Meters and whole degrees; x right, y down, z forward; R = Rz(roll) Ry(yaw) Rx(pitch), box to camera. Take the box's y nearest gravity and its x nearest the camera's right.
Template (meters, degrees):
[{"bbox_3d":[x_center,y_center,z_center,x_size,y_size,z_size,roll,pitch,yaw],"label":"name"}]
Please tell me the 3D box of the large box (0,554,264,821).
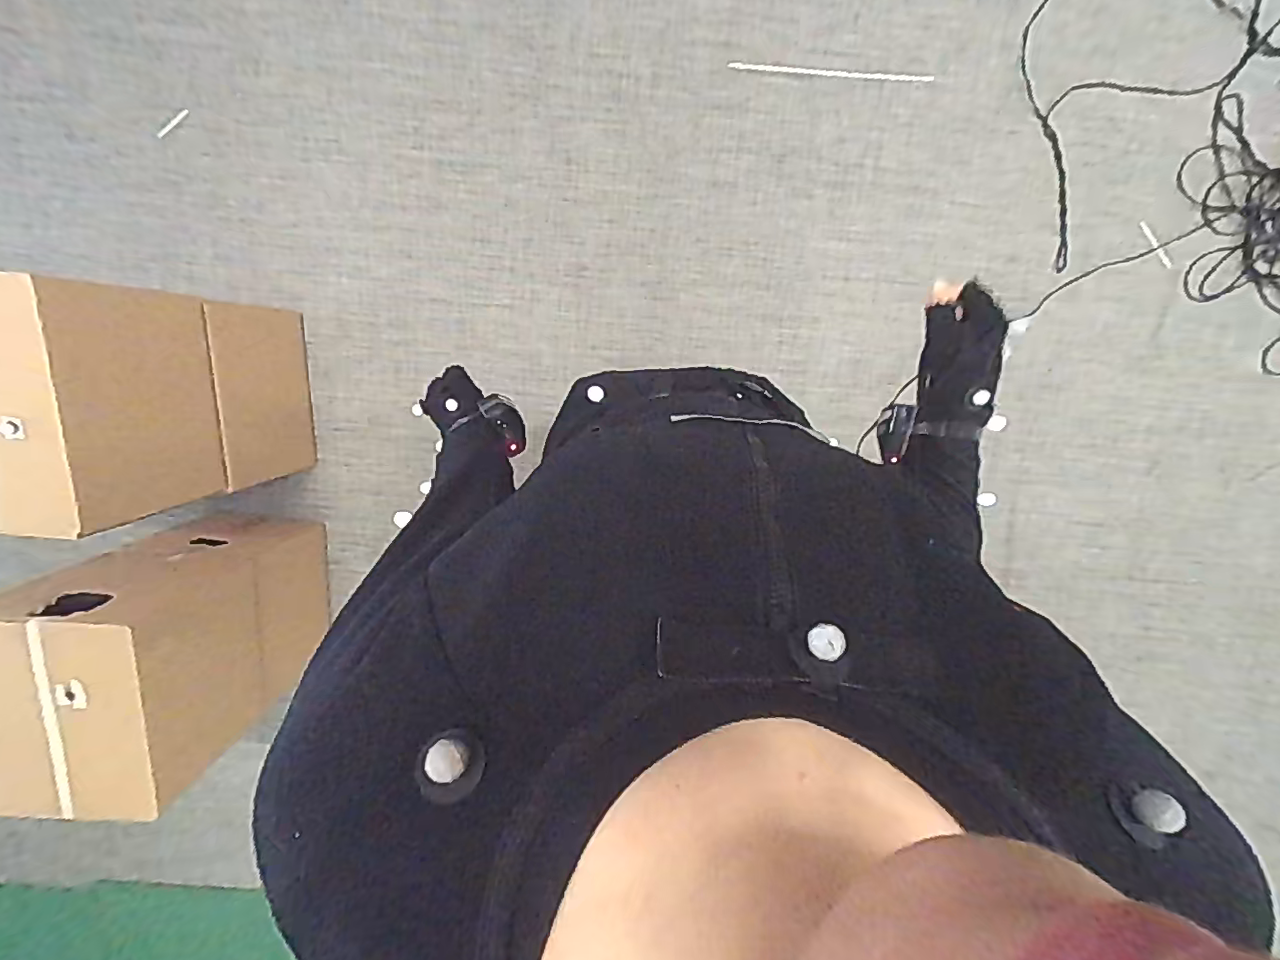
[{"bbox_3d":[-1.029,0.396,1.098,0.320,0.320,0.408,4,102,-2],"label":"large box"}]
